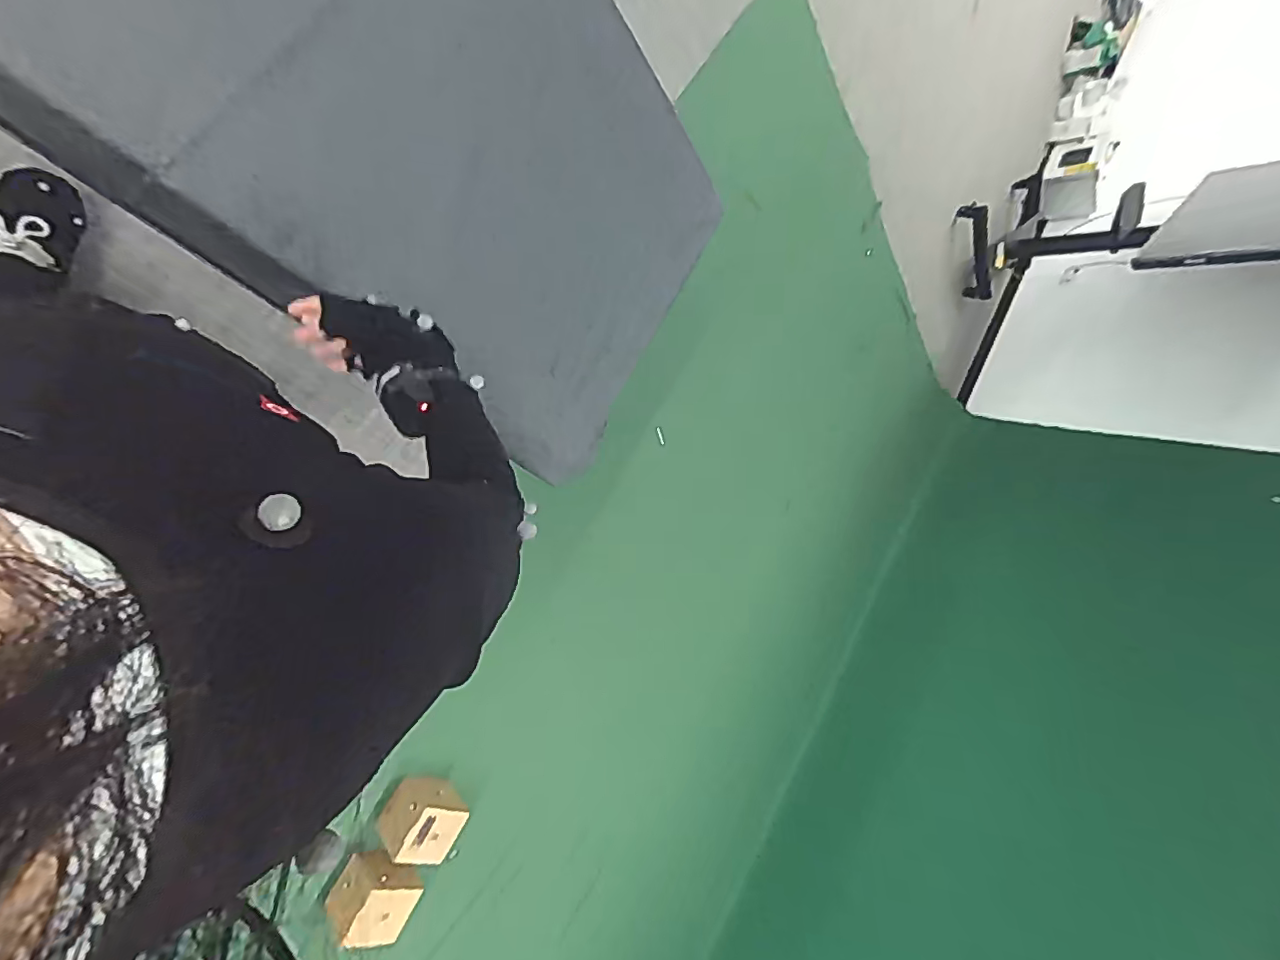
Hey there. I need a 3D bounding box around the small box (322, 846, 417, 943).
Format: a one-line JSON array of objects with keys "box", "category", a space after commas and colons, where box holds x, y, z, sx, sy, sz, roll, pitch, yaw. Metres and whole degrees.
[{"box": [-0.819, 1.242, 1.631, 0.179, 0.176, 0.168, 39, 76, -41], "category": "small box"}]
